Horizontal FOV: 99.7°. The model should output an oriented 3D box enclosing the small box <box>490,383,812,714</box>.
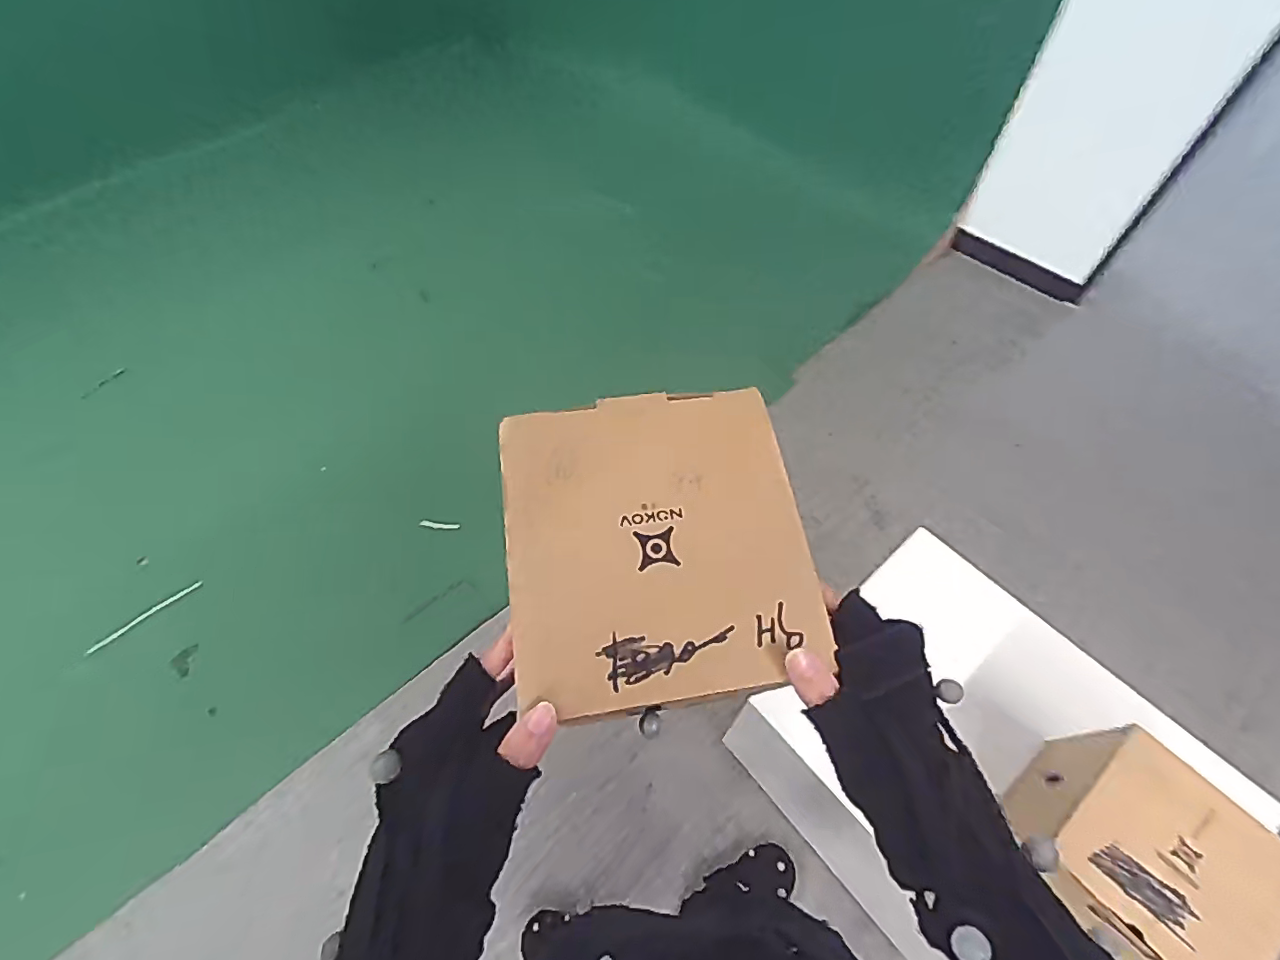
[{"bbox_3d":[-0.005,0.057,0.384,0.168,0.176,0.179,-8,65,-5],"label":"small box"}]
